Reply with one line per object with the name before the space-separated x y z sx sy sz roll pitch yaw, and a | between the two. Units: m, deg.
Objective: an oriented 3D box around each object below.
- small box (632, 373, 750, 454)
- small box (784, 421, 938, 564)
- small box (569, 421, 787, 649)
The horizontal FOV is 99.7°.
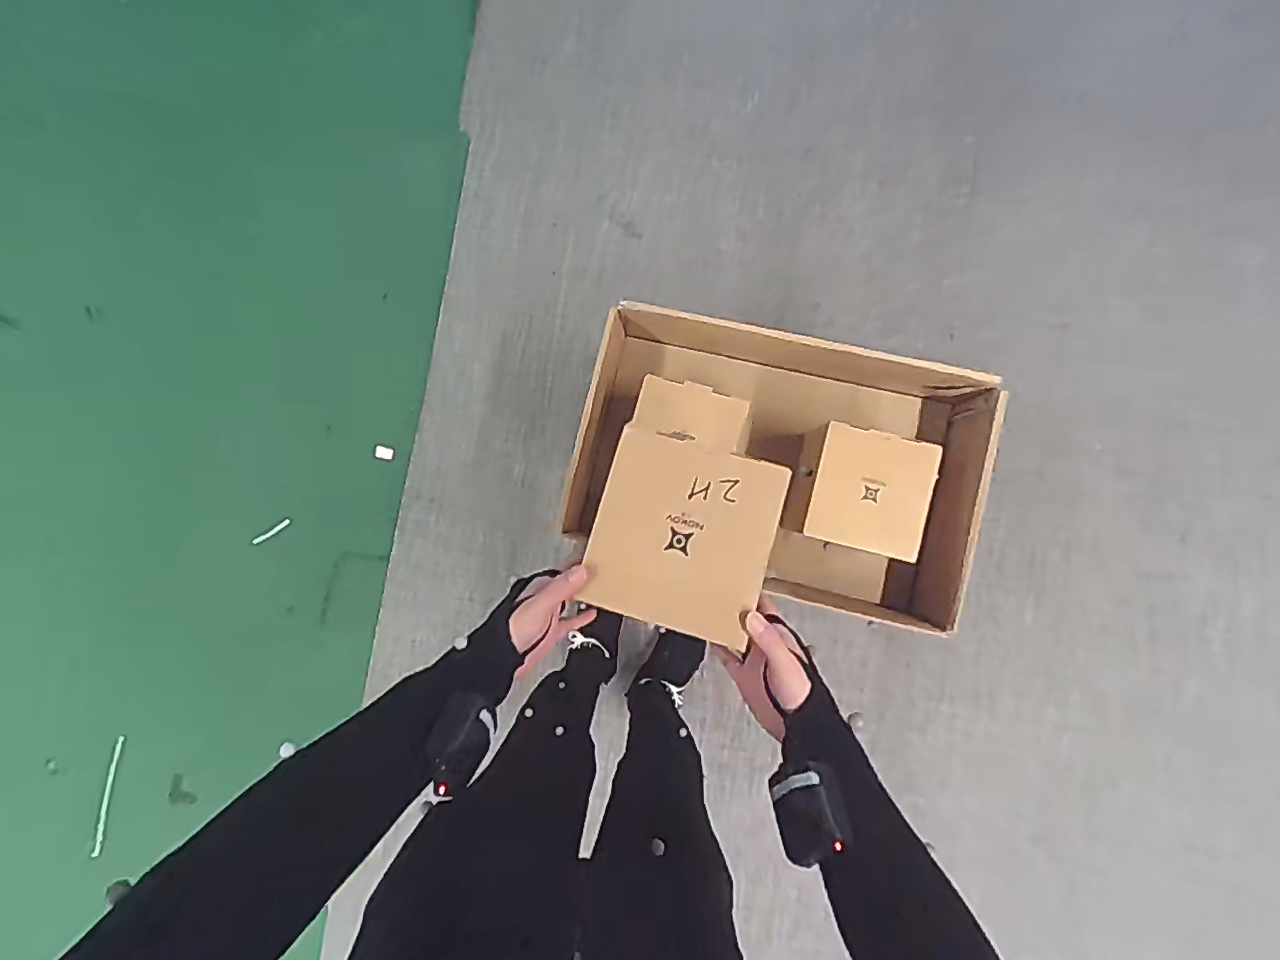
small box | 0.068 -0.051 0.884 0.168 0.176 0.179 17 87 6
small box | 0.337 0.022 0.860 0.168 0.176 0.179 14 88 6
small box | 0.041 0.059 0.581 0.168 0.176 0.179 17 83 5
